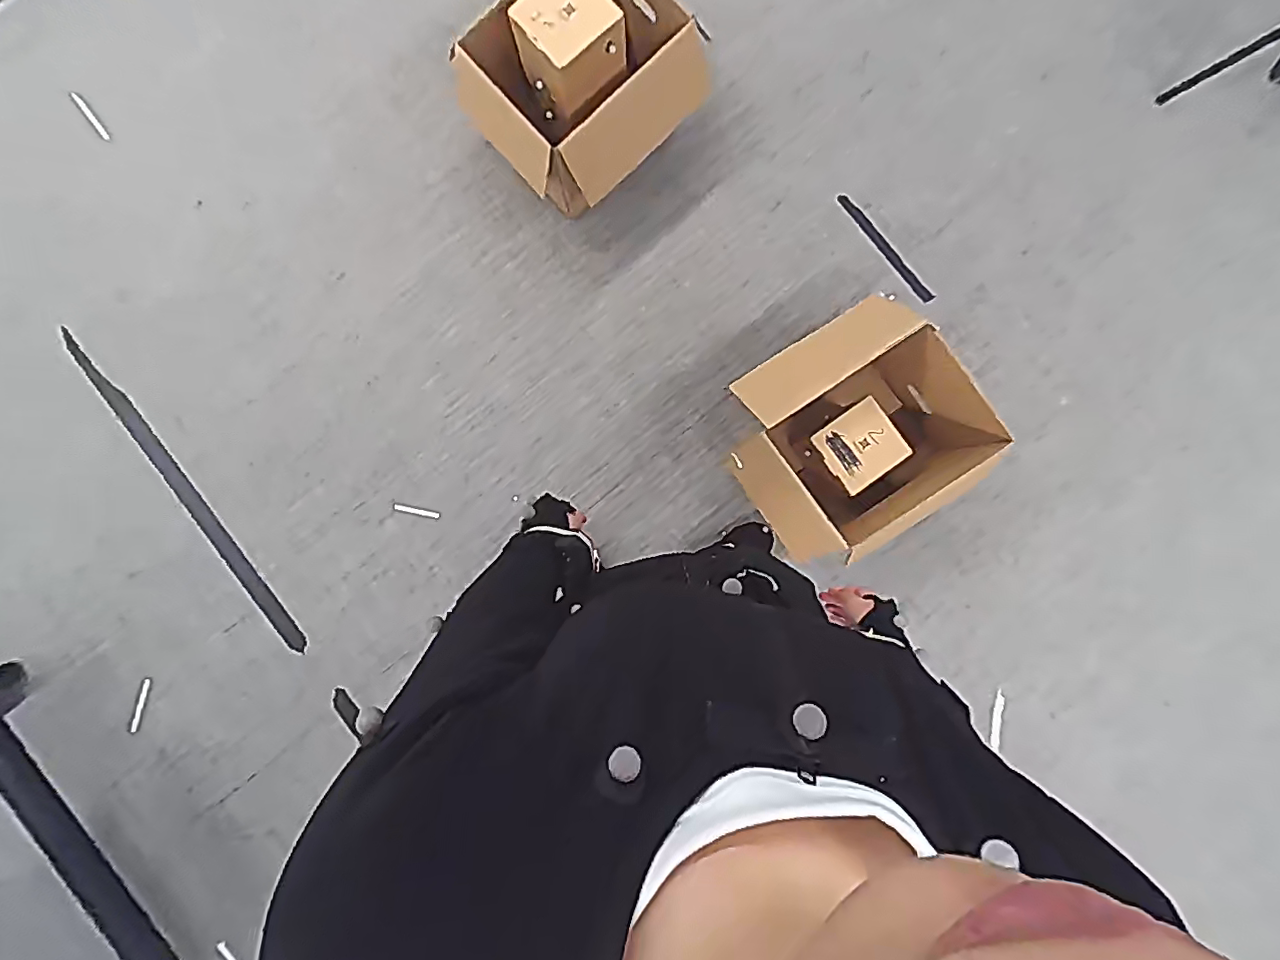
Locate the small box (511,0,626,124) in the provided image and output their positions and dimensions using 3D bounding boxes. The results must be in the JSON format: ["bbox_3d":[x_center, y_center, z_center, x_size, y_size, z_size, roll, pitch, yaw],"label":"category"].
[{"bbox_3d":[-0.146,-0.932,1.167,0.179,0.176,0.168,-41,88,0],"label":"small box"}]
